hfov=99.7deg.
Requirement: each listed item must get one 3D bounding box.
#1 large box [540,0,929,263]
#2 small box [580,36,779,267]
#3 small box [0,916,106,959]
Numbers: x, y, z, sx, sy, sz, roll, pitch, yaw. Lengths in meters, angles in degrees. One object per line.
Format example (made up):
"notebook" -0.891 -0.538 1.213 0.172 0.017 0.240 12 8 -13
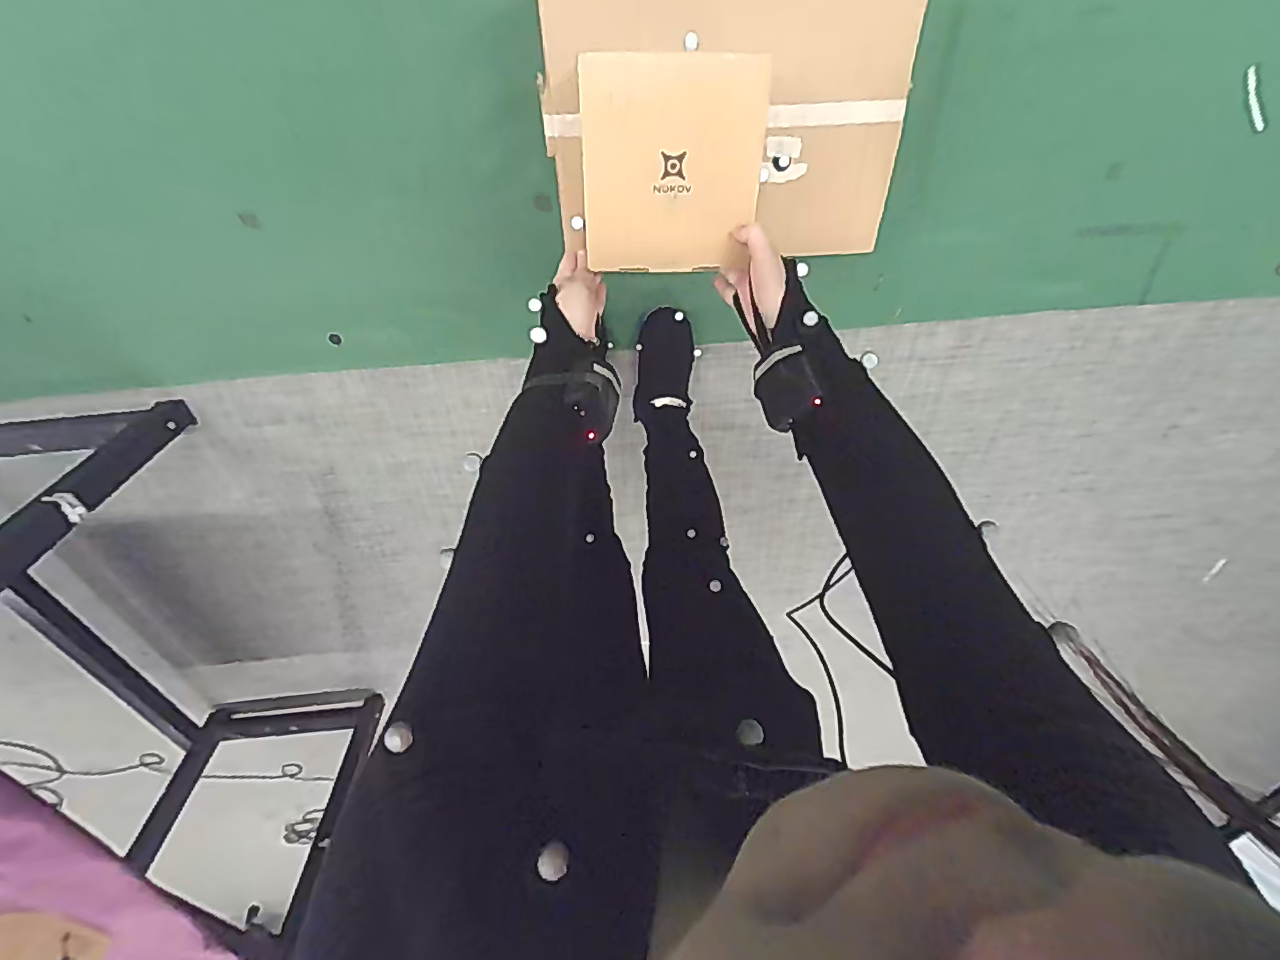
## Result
"large box" 0.093 -0.503 0.720 0.408 0.320 0.320 -4 128 -2
"small box" 0.026 -0.328 0.543 0.168 0.176 0.179 -2 127 -3
"small box" -0.981 0.778 0.803 0.179 0.176 0.168 -4 128 -1
